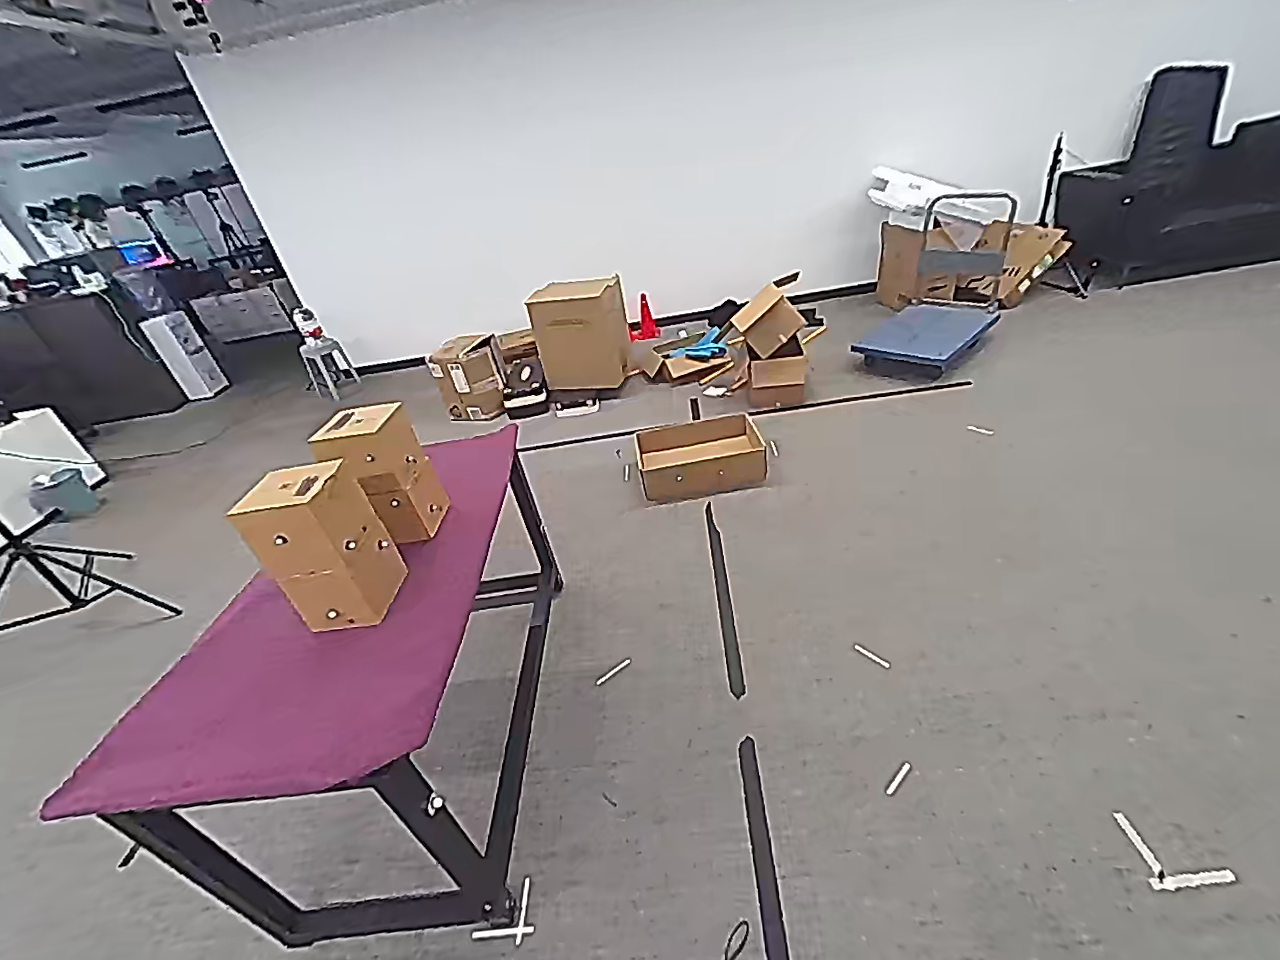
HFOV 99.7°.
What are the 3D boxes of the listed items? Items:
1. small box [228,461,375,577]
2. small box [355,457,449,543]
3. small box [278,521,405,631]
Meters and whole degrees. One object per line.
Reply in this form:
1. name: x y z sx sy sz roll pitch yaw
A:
1. small box: -0.701 0.084 1.148 0.179 0.176 0.168 -9 32 5
2. small box: -0.651 0.062 1.471 0.179 0.176 0.168 -8 33 6
3. small box: -0.666 0.218 1.237 0.168 0.176 0.179 -8 33 6
